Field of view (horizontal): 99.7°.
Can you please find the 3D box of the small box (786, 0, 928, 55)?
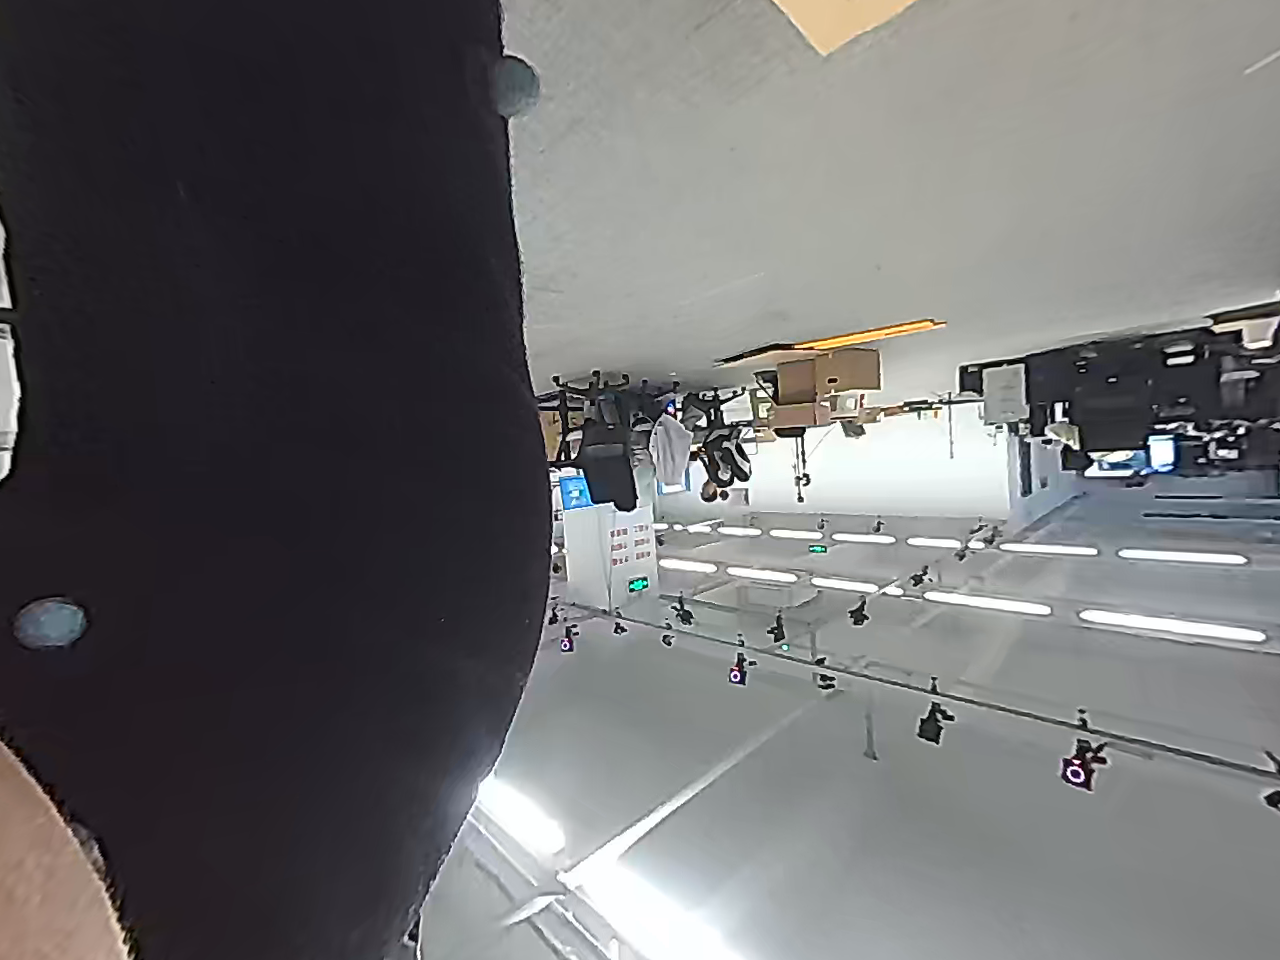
[{"bbox_3d":[0.258,-0.653,0.614,0.168,0.176,0.179,-2,-176,44],"label":"small box"}]
